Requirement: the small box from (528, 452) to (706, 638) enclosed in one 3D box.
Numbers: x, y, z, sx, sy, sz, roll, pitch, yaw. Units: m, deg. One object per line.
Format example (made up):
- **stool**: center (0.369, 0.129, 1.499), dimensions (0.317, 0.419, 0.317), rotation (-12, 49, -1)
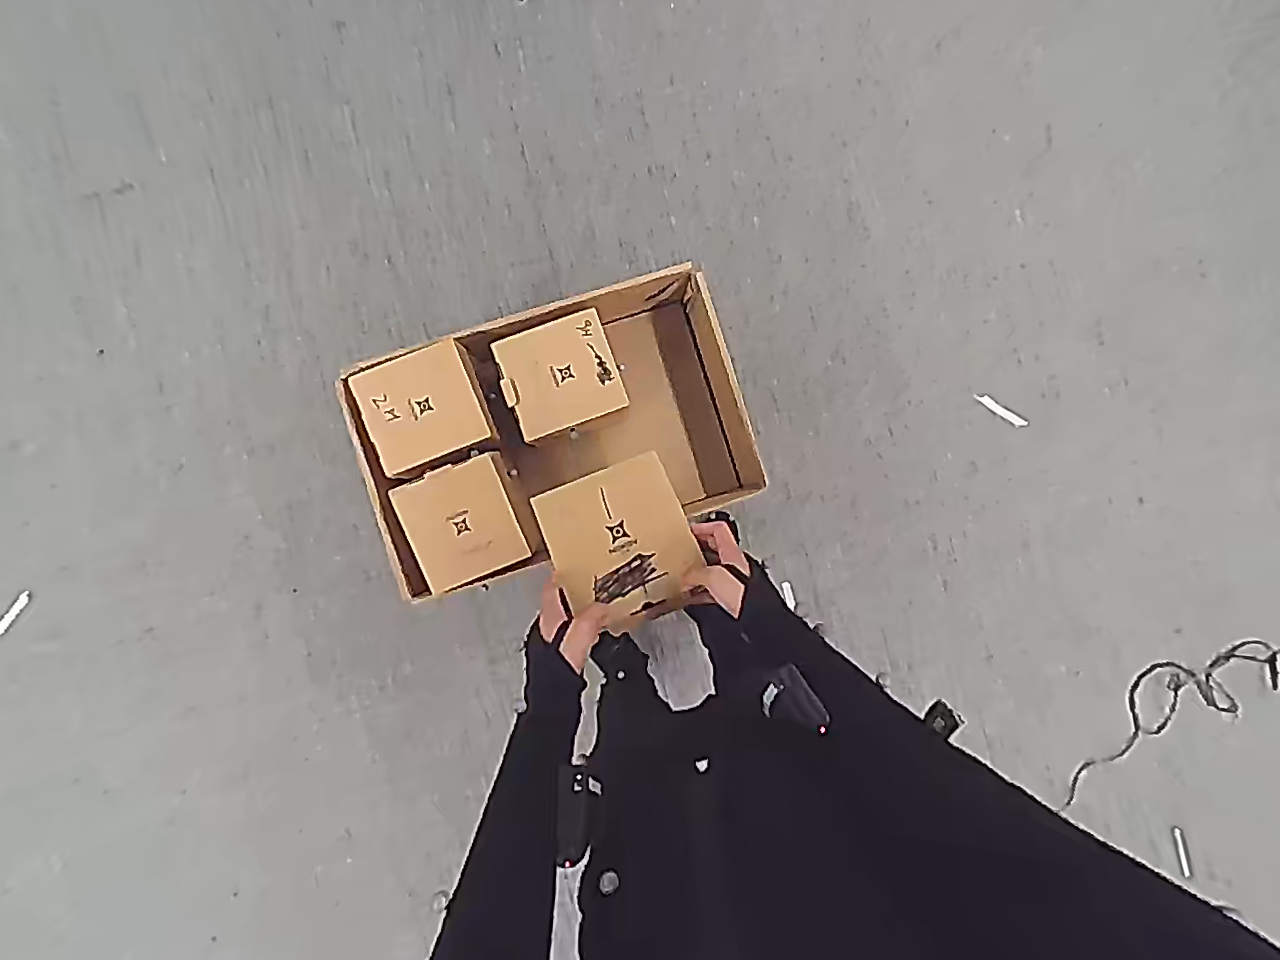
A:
- **small box**: center (-0.026, 0.091, 0.709), dimensions (0.168, 0.176, 0.179), rotation (-22, 75, -5)
